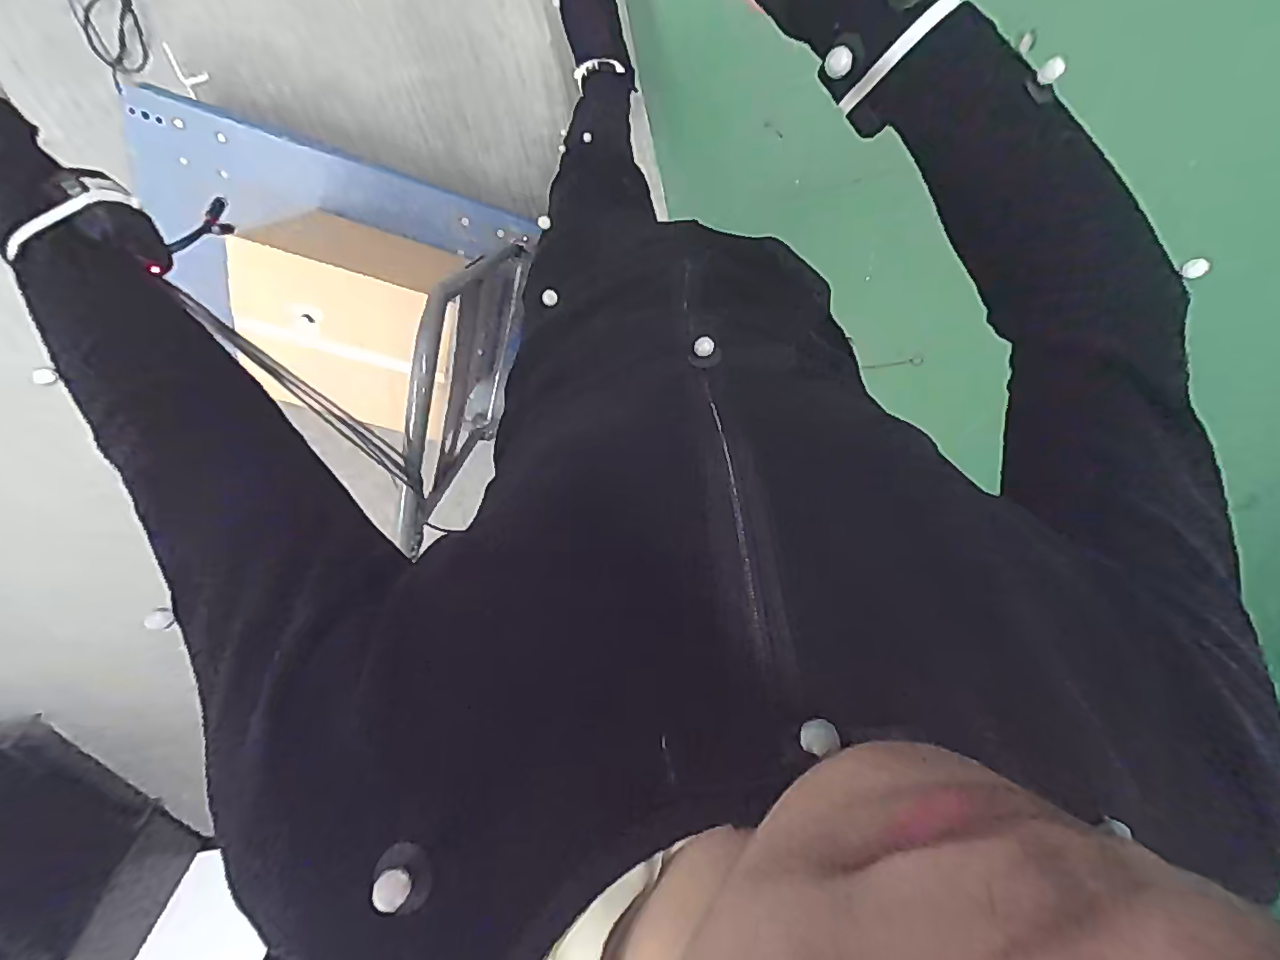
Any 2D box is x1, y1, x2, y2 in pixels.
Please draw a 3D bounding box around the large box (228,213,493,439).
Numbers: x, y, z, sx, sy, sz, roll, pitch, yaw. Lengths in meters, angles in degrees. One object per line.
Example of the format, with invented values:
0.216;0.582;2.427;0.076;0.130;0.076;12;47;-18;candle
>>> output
-0.569;-0.337;1.173;0.408;0.320;0.320;15;122;-9;large box
